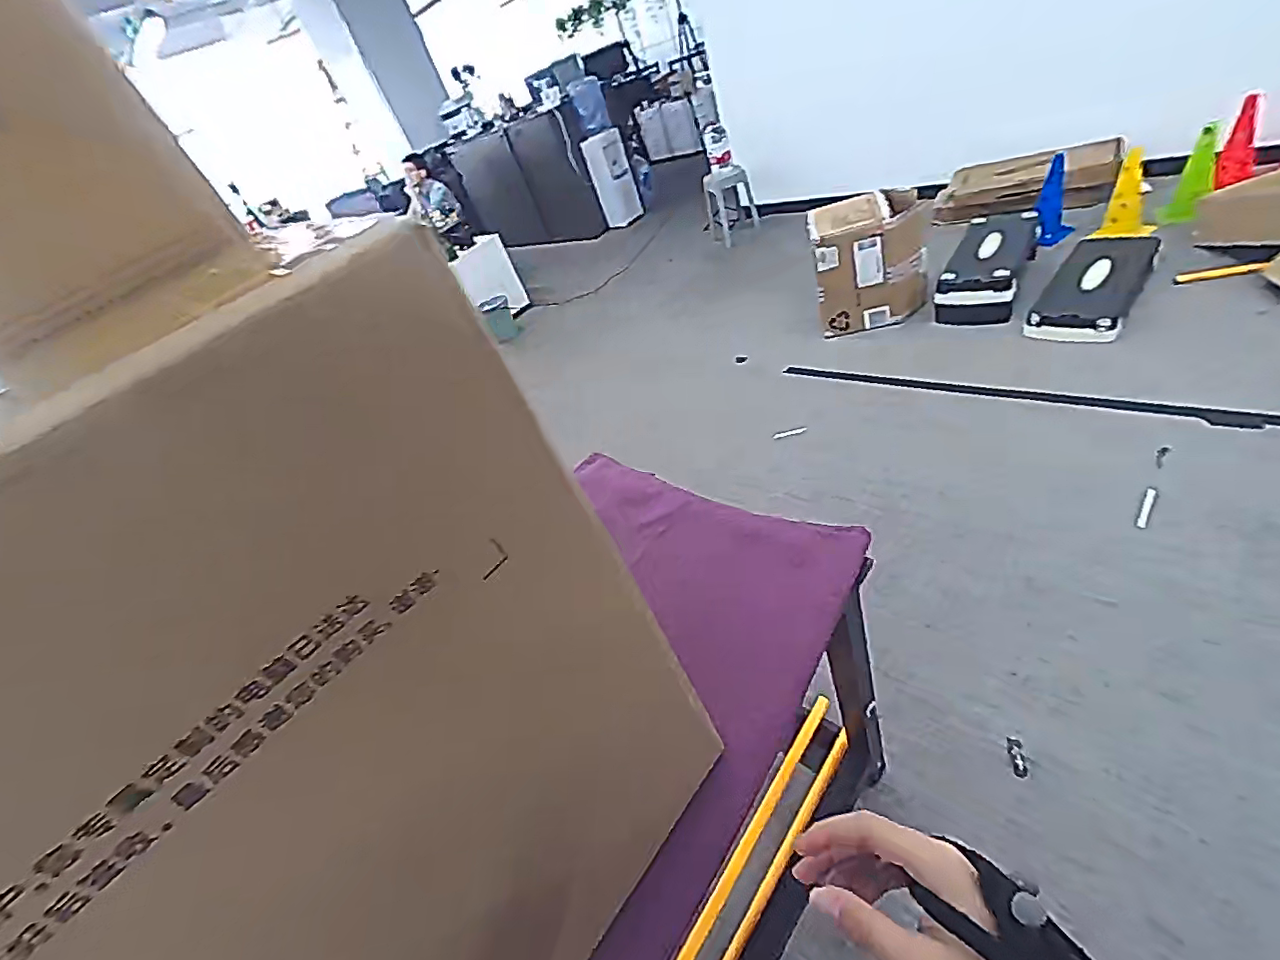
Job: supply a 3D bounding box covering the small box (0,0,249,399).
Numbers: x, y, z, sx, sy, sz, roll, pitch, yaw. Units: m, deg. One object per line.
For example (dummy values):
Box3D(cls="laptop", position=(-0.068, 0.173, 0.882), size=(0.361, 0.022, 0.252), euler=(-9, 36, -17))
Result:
Box3D(cls="small box", position=(-0.413, -0.179, 0.368), size=(0.168, 0.176, 0.179), euler=(13, 52, 38))
